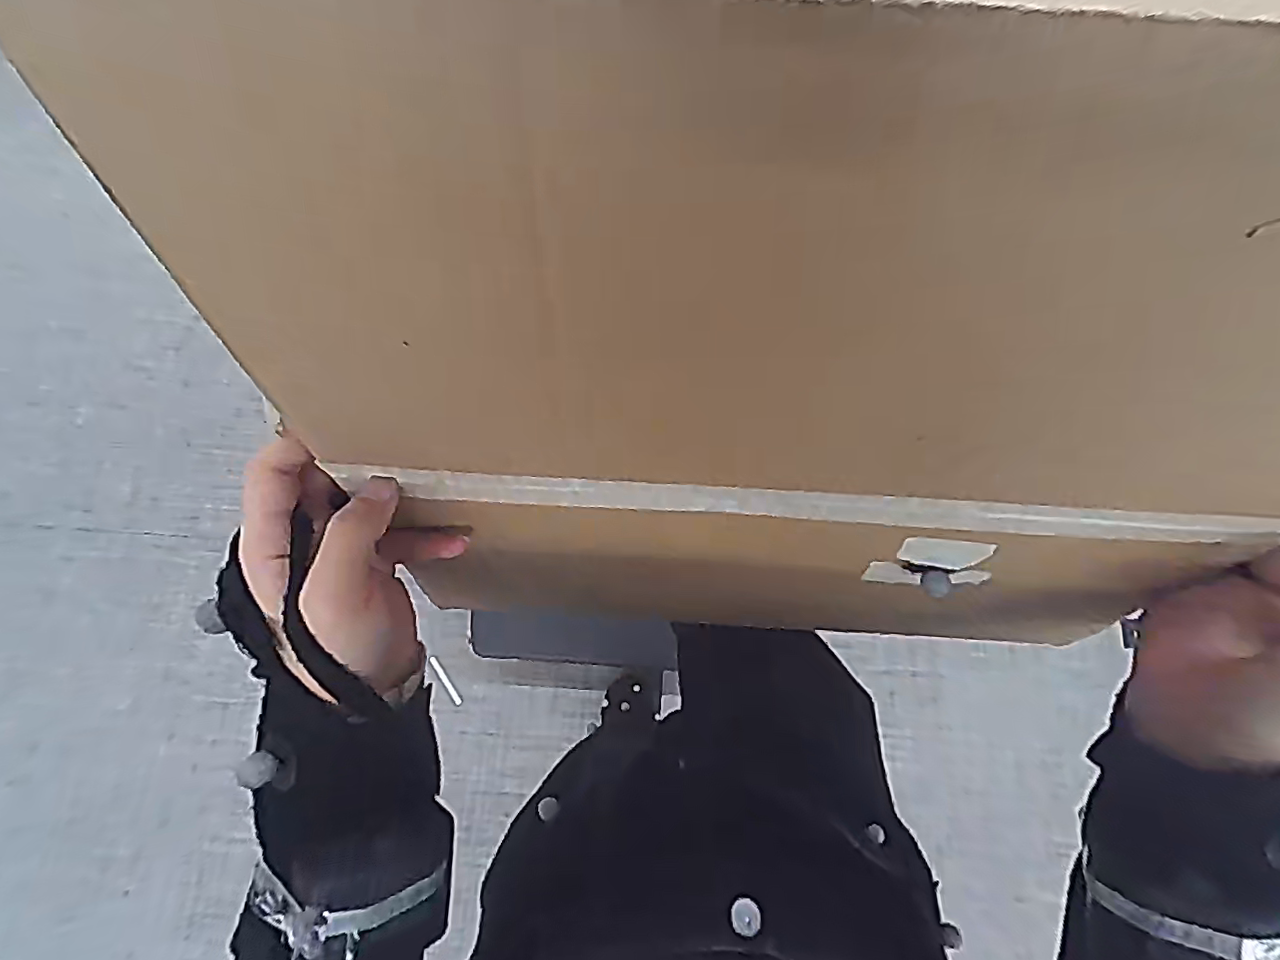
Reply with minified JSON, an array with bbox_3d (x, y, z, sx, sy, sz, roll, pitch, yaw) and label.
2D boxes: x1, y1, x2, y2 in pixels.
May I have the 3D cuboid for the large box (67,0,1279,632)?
[{"bbox_3d":[0.074,-0.116,0.318,0.408,0.320,0.320,2,56,0],"label":"large box"}]
